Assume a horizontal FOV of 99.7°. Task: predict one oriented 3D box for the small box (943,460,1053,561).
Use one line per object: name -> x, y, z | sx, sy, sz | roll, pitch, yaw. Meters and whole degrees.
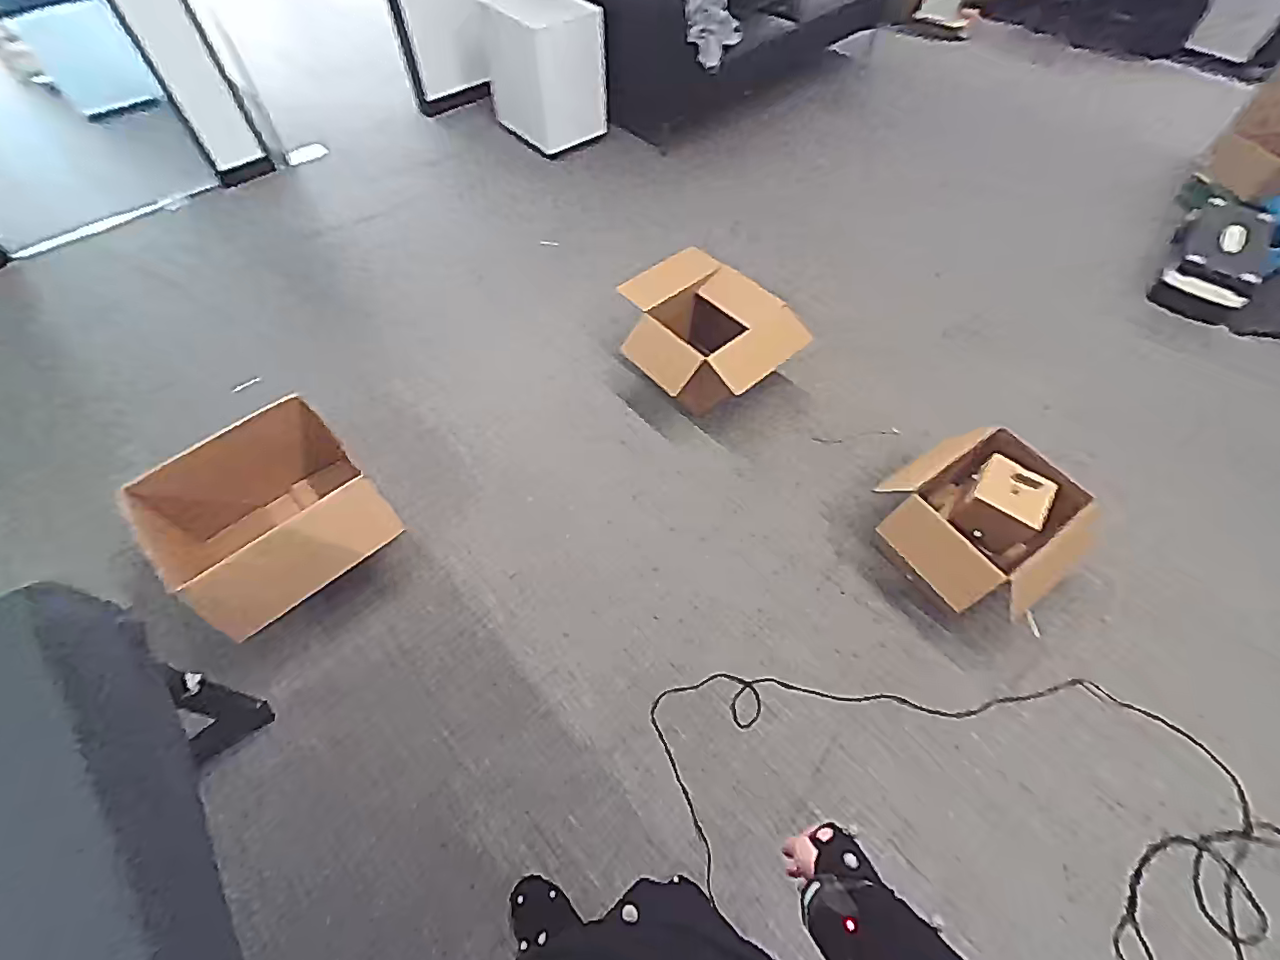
small box -> 0.972, 0.086, 1.482 | 0.168, 0.176, 0.179 | 35, 61, 21
